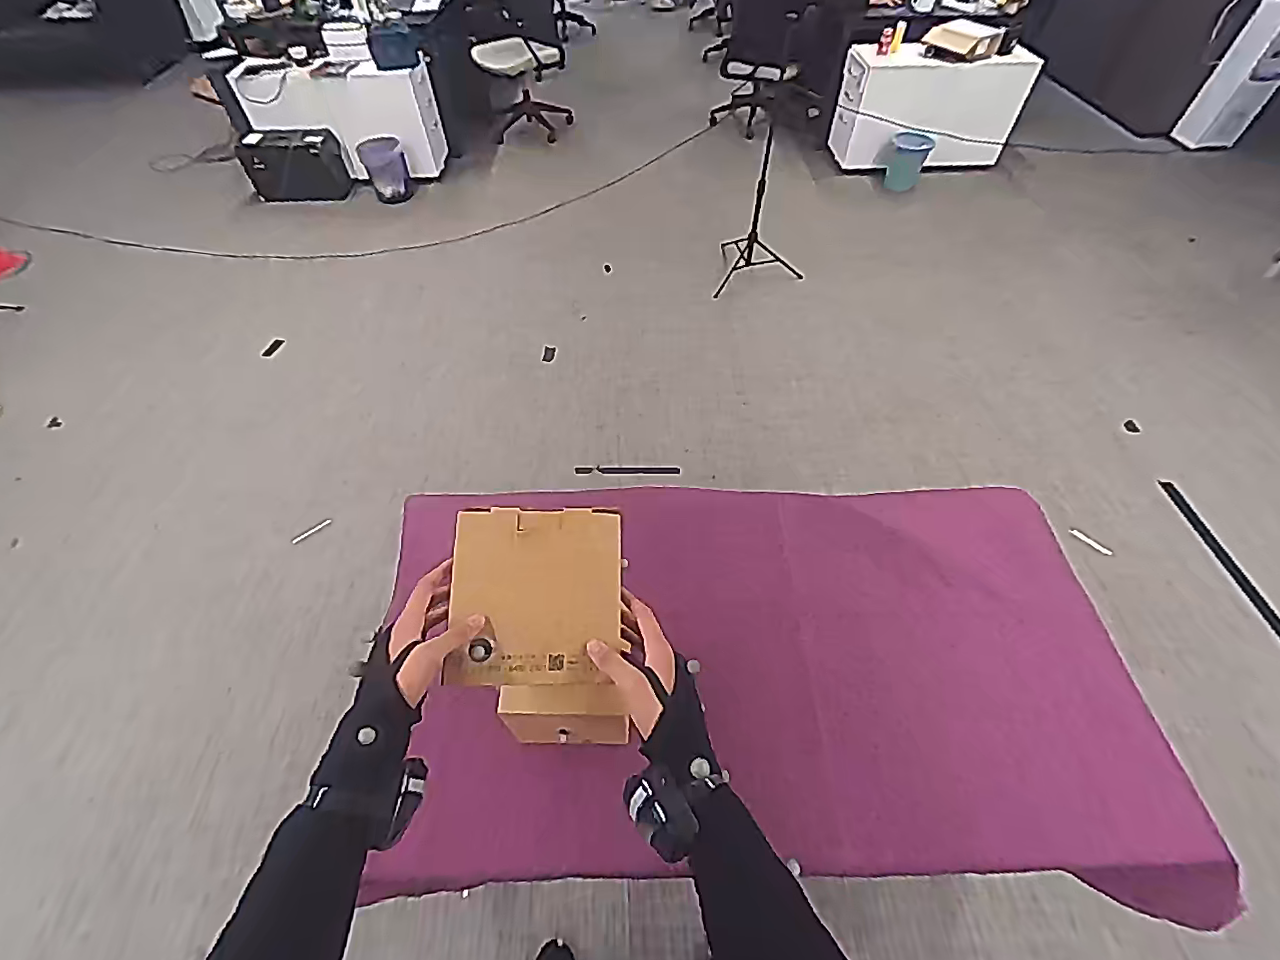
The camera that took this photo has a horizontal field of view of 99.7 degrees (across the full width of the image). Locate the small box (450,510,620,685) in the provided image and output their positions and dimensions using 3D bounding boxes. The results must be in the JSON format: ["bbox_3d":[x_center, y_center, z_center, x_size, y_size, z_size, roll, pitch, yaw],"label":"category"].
[{"bbox_3d":[-0.108,0.133,0.604,0.168,0.179,0.176,2,75,-6],"label":"small box"}]

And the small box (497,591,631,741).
[{"bbox_3d":[-0.099,0.278,0.801,0.168,0.176,0.179,2,52,1],"label":"small box"}]
